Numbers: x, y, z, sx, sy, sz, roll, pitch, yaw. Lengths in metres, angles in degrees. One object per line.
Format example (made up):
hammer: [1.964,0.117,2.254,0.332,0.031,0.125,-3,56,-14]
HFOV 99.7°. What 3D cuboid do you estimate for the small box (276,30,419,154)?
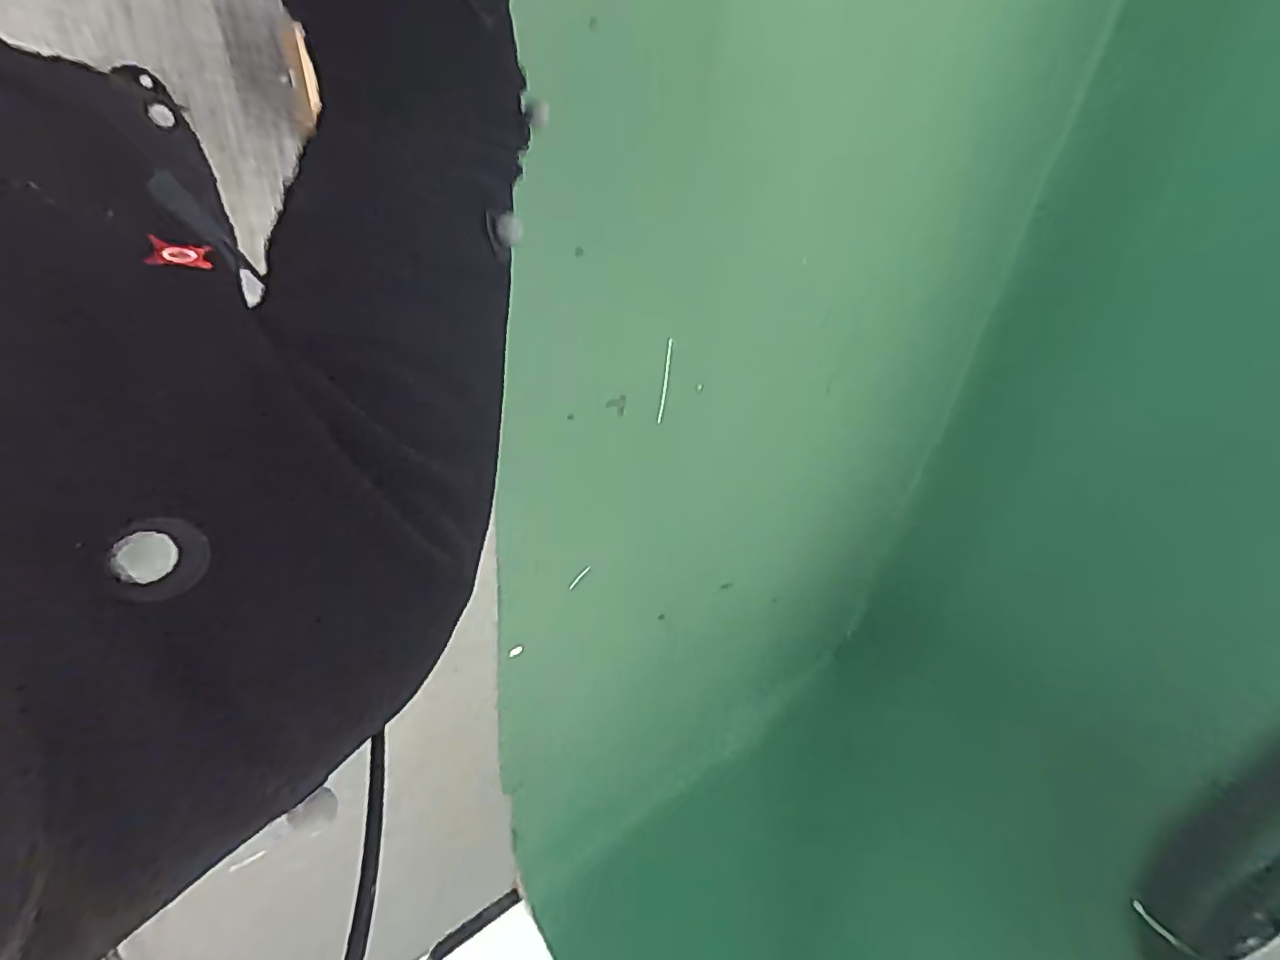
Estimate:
small box: [-0.533,-0.697,0.989,0.179,0.176,0.168,-20,127,-32]
